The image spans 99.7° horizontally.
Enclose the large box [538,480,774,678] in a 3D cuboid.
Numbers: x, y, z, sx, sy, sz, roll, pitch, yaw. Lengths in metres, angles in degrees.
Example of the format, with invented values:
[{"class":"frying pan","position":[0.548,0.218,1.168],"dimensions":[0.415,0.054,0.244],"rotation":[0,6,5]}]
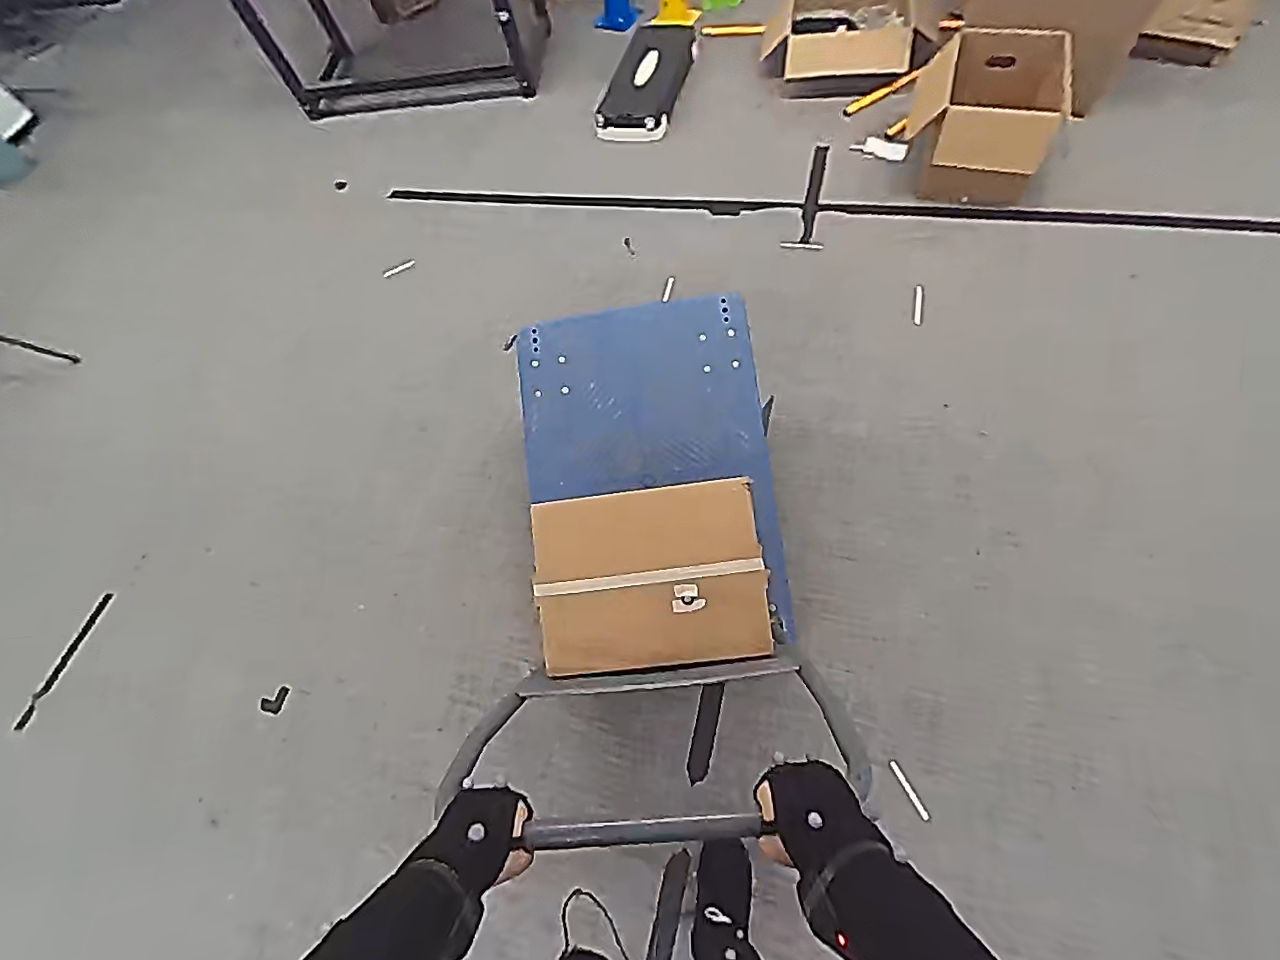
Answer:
[{"class":"large box","position":[0.034,0.200,1.131],"dimensions":[0.408,0.320,0.320],"rotation":[-8,82,4]}]
